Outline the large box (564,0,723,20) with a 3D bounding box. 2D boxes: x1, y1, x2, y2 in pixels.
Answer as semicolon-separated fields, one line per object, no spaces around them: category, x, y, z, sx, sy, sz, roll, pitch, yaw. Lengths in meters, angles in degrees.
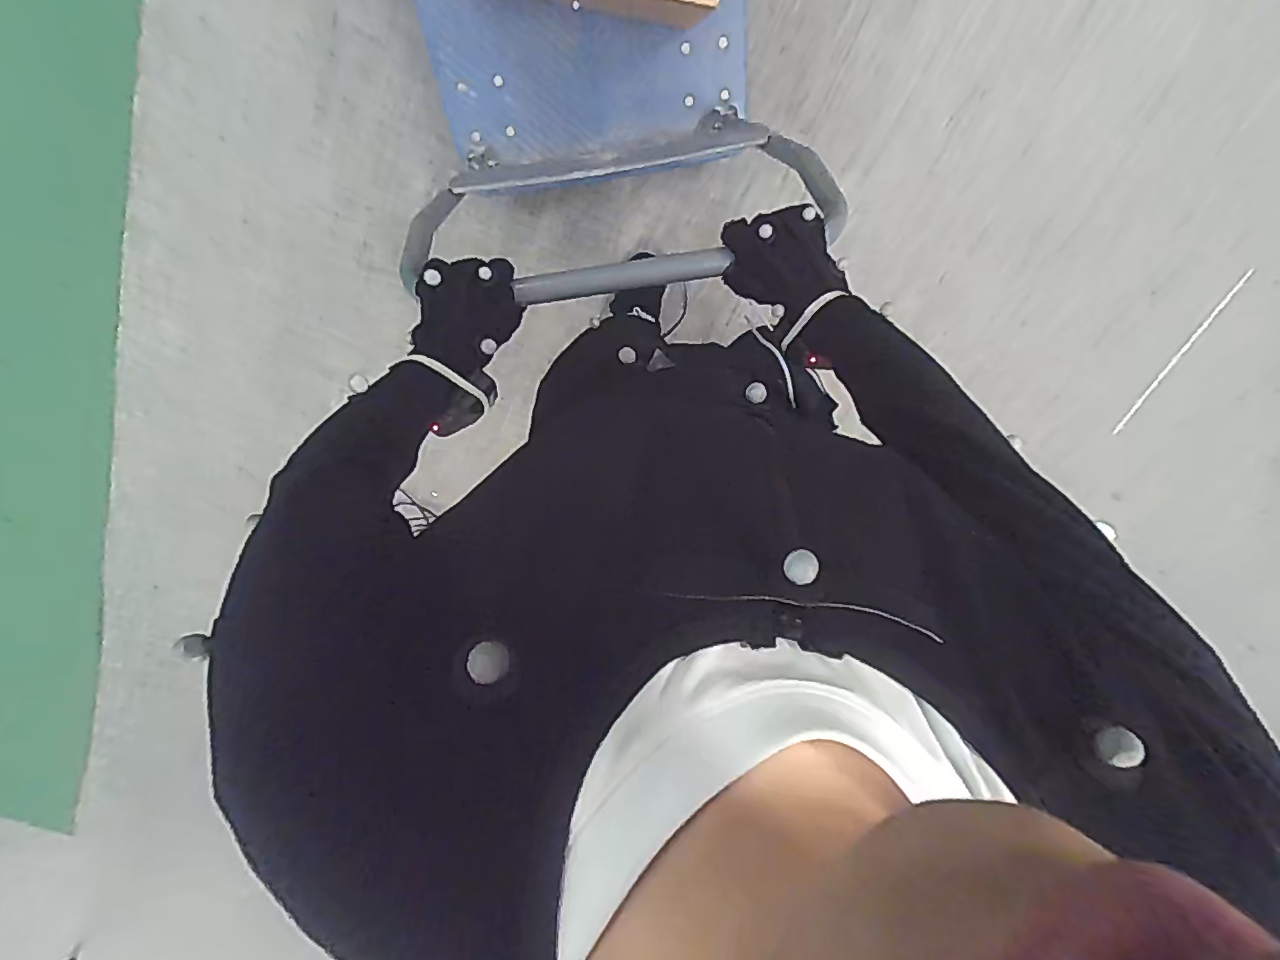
large box;-0.067;-0.871;0.746;0.408;0.320;0.320;5;125;-6
